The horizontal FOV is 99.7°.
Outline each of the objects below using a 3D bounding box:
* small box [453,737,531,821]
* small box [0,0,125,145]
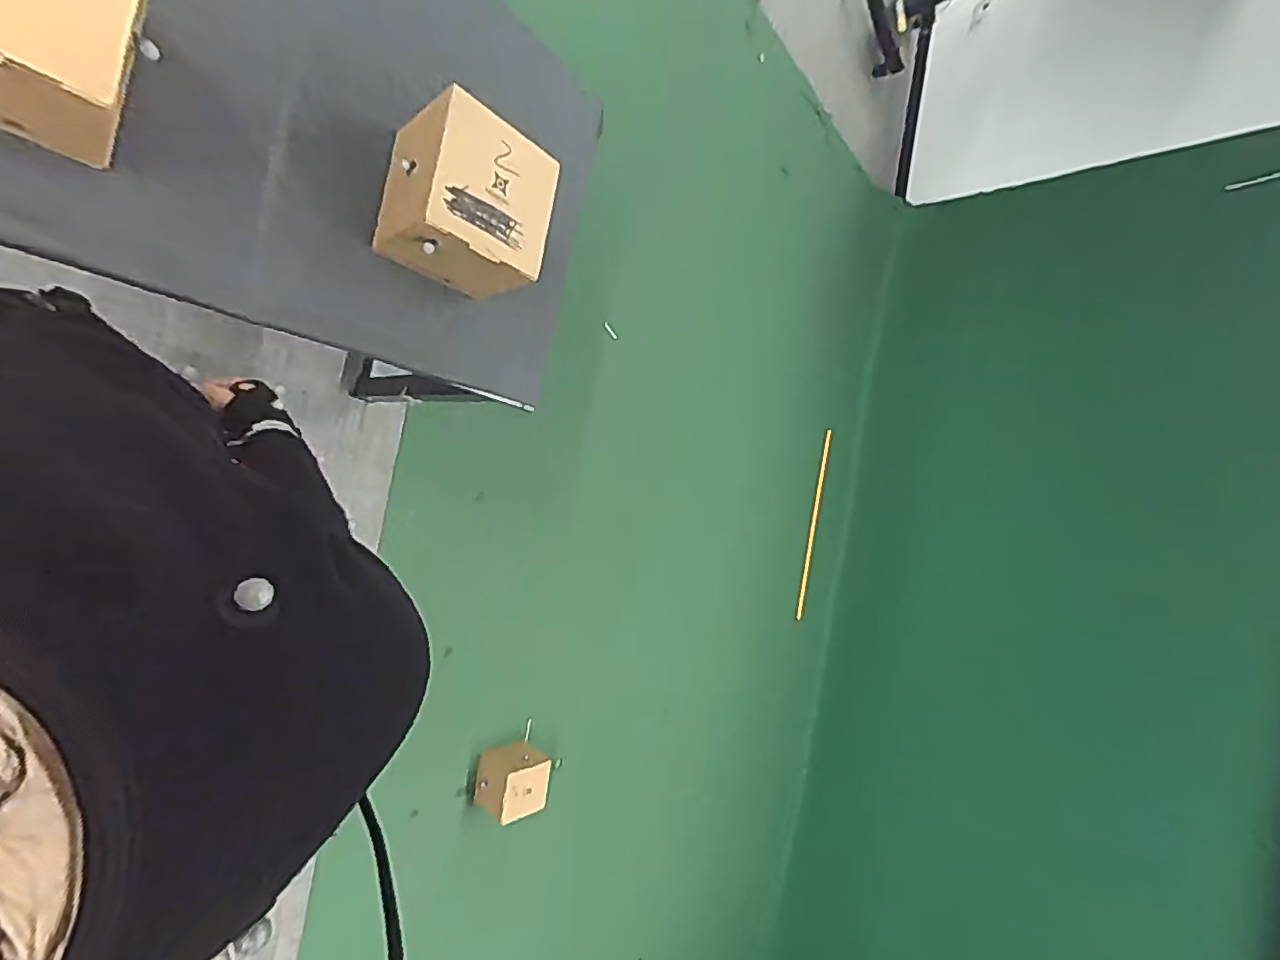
[{"bbox_3d":[-0.497,0.990,1.811,0.179,0.176,0.168,10,89,-48],"label":"small box"},{"bbox_3d":[-0.532,-0.415,0.430,0.168,0.176,0.179,14,86,-49],"label":"small box"}]
